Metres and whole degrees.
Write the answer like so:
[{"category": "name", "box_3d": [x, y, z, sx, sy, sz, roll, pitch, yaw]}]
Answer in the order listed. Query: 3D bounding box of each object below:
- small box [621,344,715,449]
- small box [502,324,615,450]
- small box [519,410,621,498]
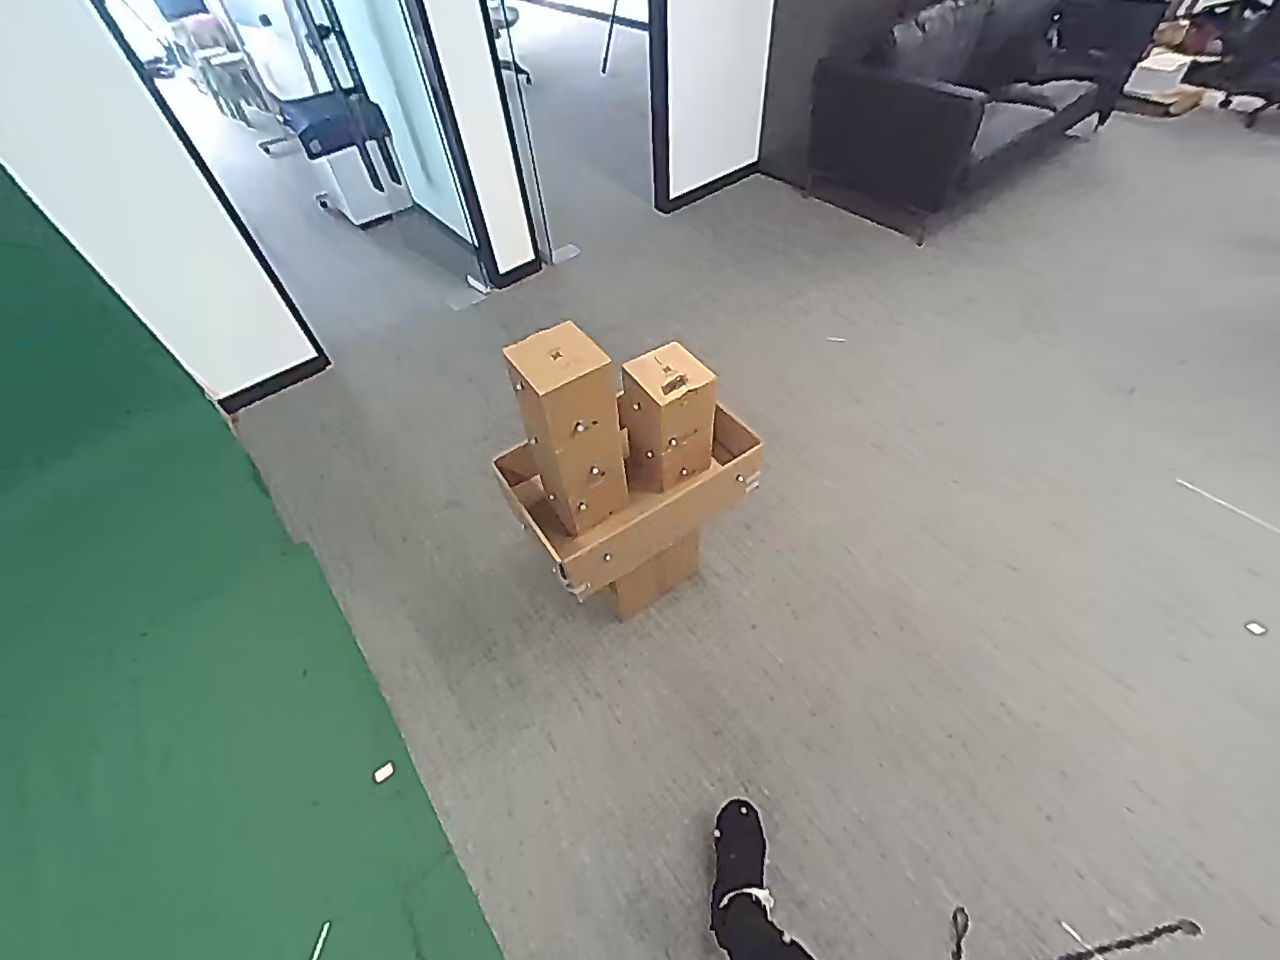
[{"category": "small box", "box_3d": [0.070, -0.200, 1.349, 0.168, 0.176, 0.179, -28, 54, -18]}, {"category": "small box", "box_3d": [-0.168, -0.195, 1.148, 0.168, 0.176, 0.179, -29, 55, -18]}, {"category": "small box", "box_3d": [-0.160, -0.091, 1.274, 0.168, 0.176, 0.179, -30, 55, -18]}]
